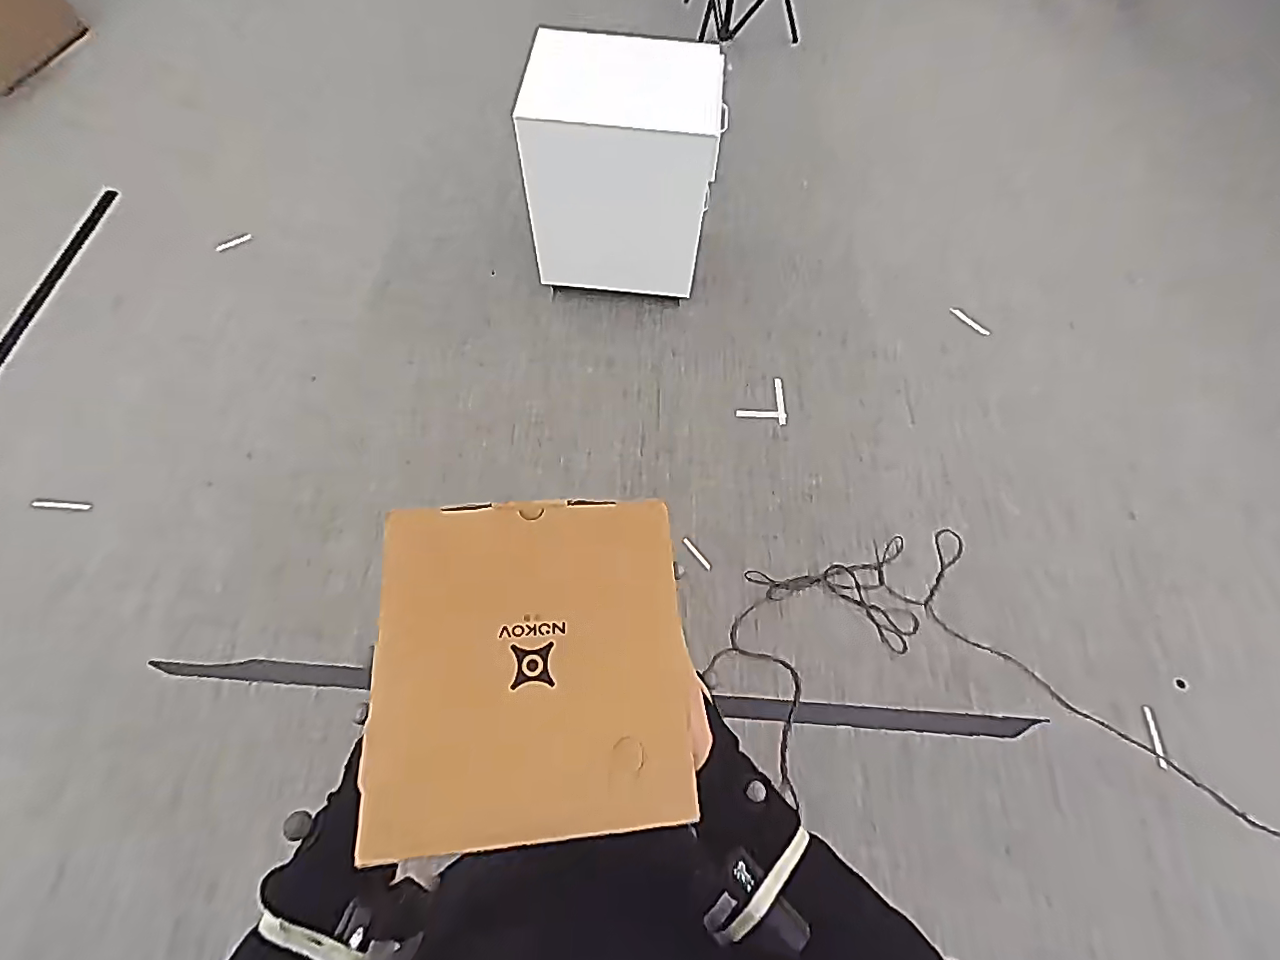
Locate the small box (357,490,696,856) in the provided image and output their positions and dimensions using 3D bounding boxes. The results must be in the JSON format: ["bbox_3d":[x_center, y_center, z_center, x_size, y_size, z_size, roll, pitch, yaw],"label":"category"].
[{"bbox_3d":[-0.067,0.119,0.363,0.168,0.176,0.179,-2,68,-9],"label":"small box"}]
